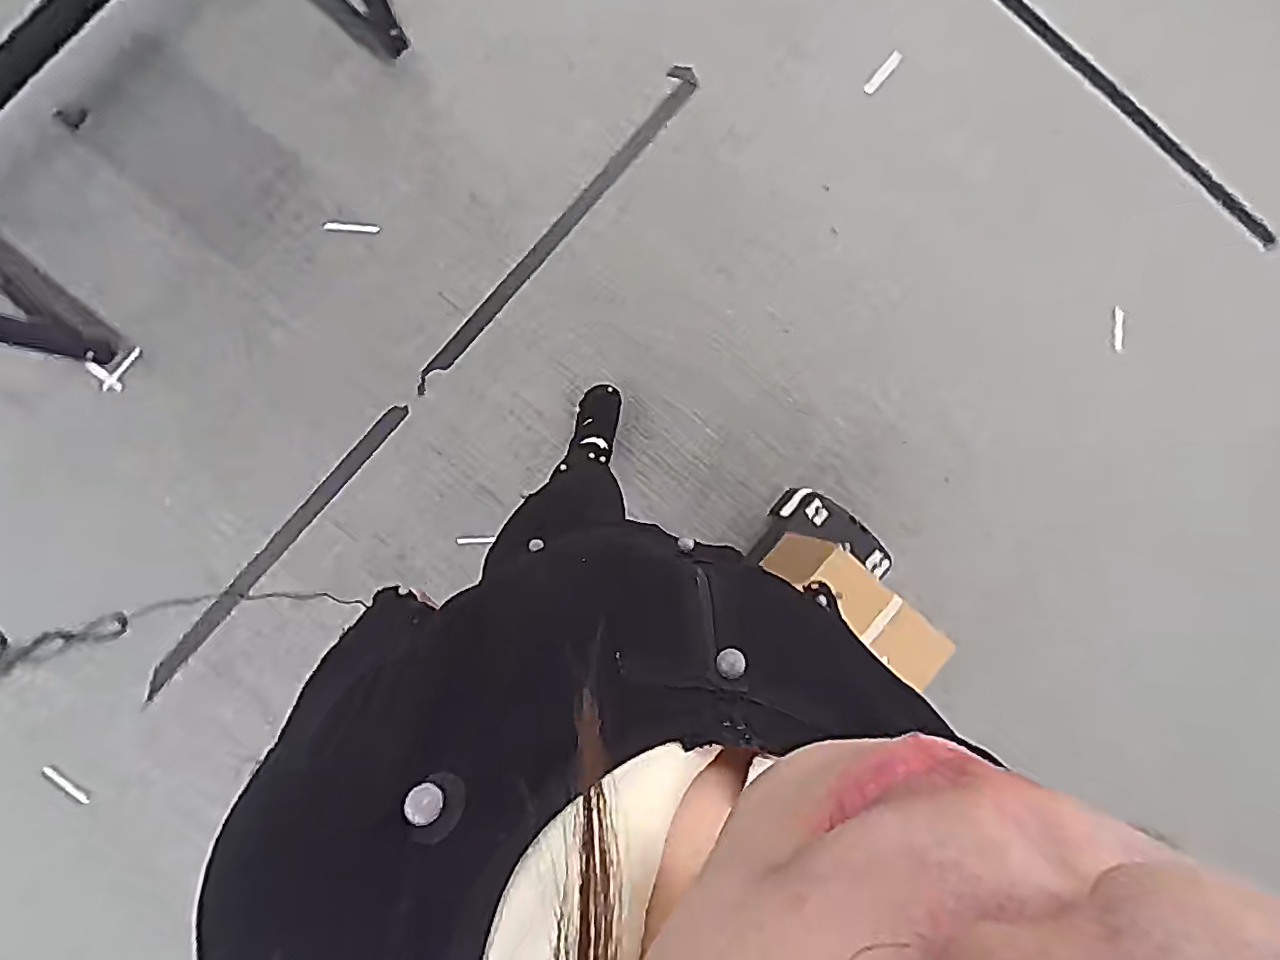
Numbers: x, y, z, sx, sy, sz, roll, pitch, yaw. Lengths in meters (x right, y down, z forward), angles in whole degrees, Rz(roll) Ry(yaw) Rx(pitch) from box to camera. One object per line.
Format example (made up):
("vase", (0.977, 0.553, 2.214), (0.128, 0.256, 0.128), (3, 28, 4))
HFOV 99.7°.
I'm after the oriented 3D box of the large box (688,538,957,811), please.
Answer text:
("large box", (0.359, 0.380, 1.166), (0.320, 0.320, 0.408), (42, 86, -2))
